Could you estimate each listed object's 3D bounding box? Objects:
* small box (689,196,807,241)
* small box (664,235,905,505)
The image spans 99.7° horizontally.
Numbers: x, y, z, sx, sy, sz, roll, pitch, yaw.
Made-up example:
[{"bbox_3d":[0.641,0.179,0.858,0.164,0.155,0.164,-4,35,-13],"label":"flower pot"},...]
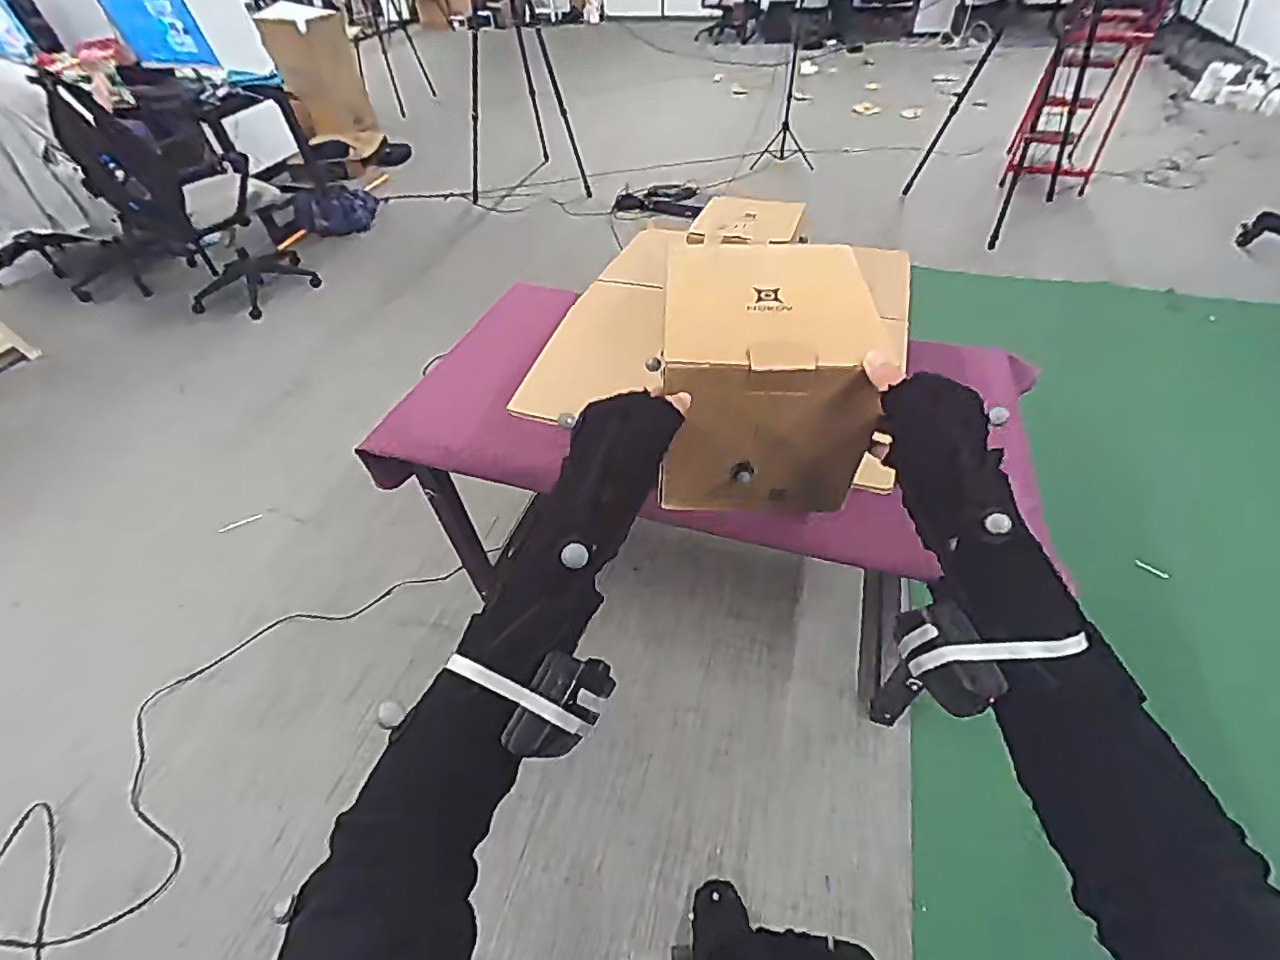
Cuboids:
[{"bbox_3d":[0.184,-0.376,0.954,0.168,0.176,0.179,13,49,16],"label":"small box"},{"bbox_3d":[0.107,-0.099,0.492,0.168,0.176,0.179,1,51,1],"label":"small box"}]
